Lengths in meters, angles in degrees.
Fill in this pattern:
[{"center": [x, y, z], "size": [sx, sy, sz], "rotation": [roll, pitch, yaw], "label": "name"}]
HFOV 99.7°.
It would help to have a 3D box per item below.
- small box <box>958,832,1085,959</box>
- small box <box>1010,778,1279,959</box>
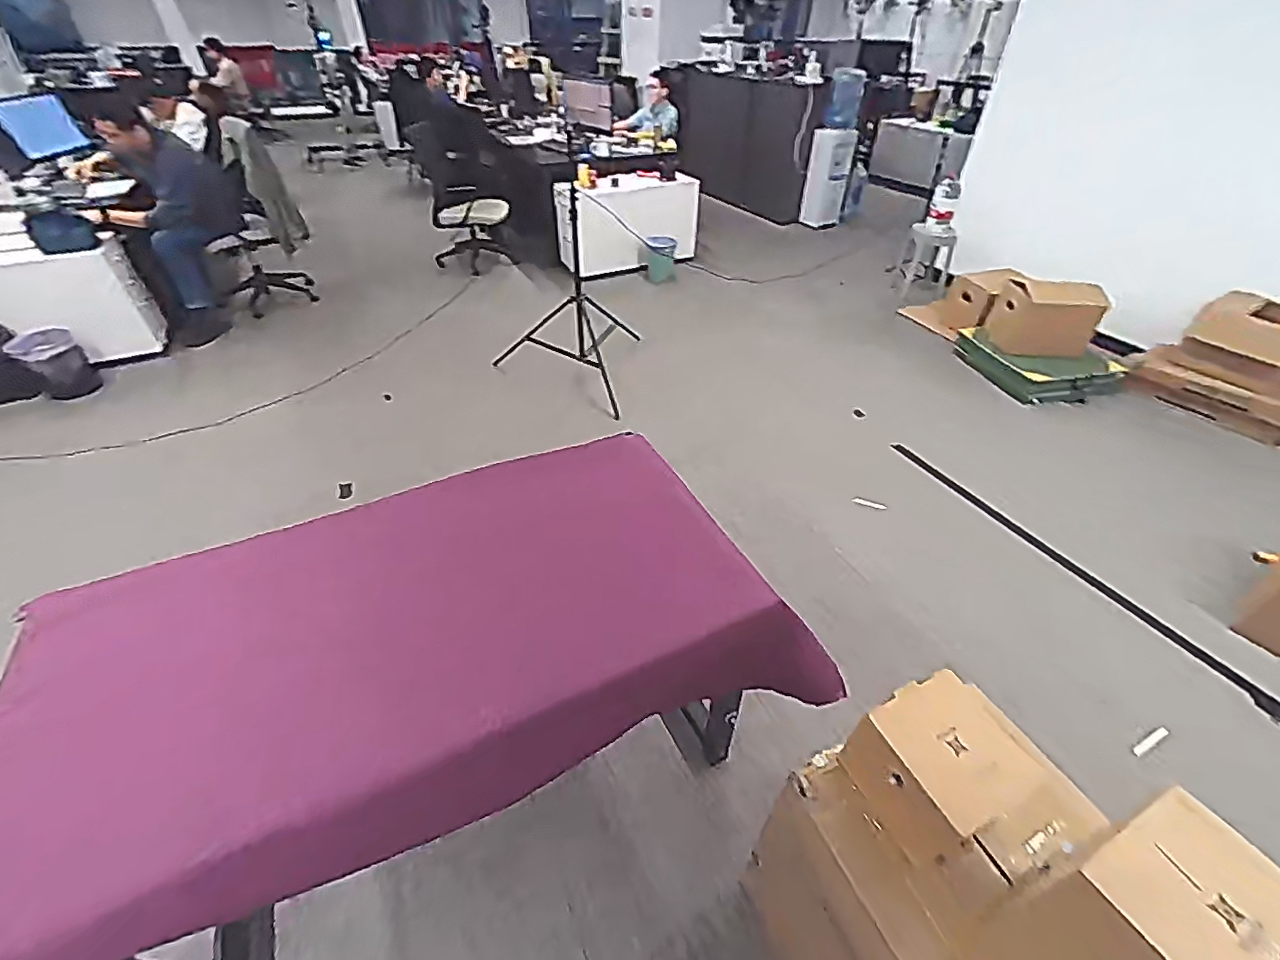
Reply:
[{"center": [0.521, 0.564, 0.628], "size": [0.168, 0.176, 0.179], "rotation": [-23, 45, -24], "label": "small box"}, {"center": [0.516, 0.438, 0.521], "size": [0.168, 0.176, 0.179], "rotation": [-19, 42, -20], "label": "small box"}]
